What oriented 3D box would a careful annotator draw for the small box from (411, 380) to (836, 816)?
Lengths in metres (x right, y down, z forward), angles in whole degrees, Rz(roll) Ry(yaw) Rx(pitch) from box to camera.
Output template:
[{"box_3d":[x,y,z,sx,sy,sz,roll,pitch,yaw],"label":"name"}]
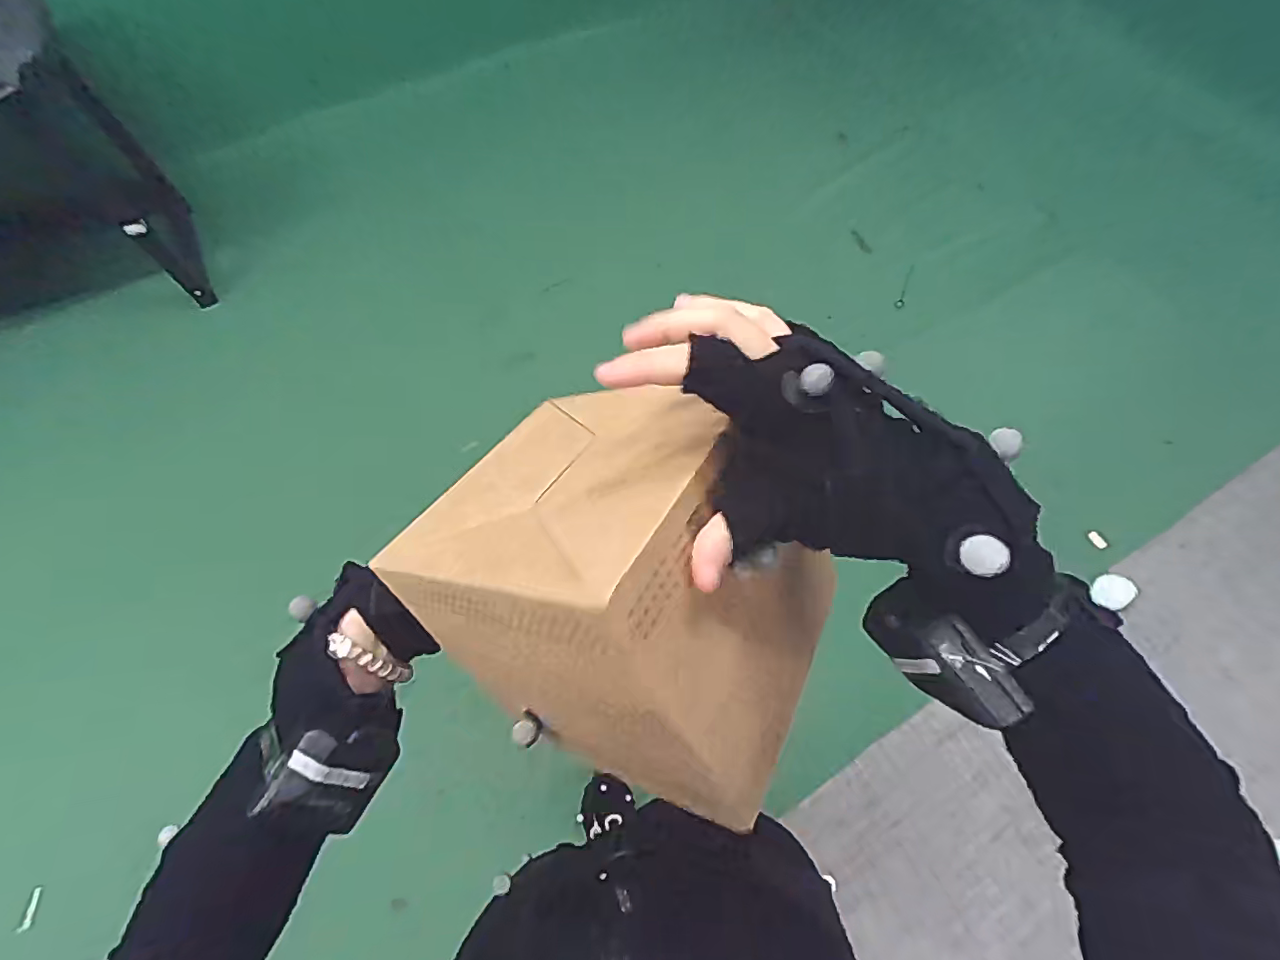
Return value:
[{"box_3d":[-0.004,0.056,0.329,0.179,0.176,0.168,1,44,39],"label":"small box"}]
